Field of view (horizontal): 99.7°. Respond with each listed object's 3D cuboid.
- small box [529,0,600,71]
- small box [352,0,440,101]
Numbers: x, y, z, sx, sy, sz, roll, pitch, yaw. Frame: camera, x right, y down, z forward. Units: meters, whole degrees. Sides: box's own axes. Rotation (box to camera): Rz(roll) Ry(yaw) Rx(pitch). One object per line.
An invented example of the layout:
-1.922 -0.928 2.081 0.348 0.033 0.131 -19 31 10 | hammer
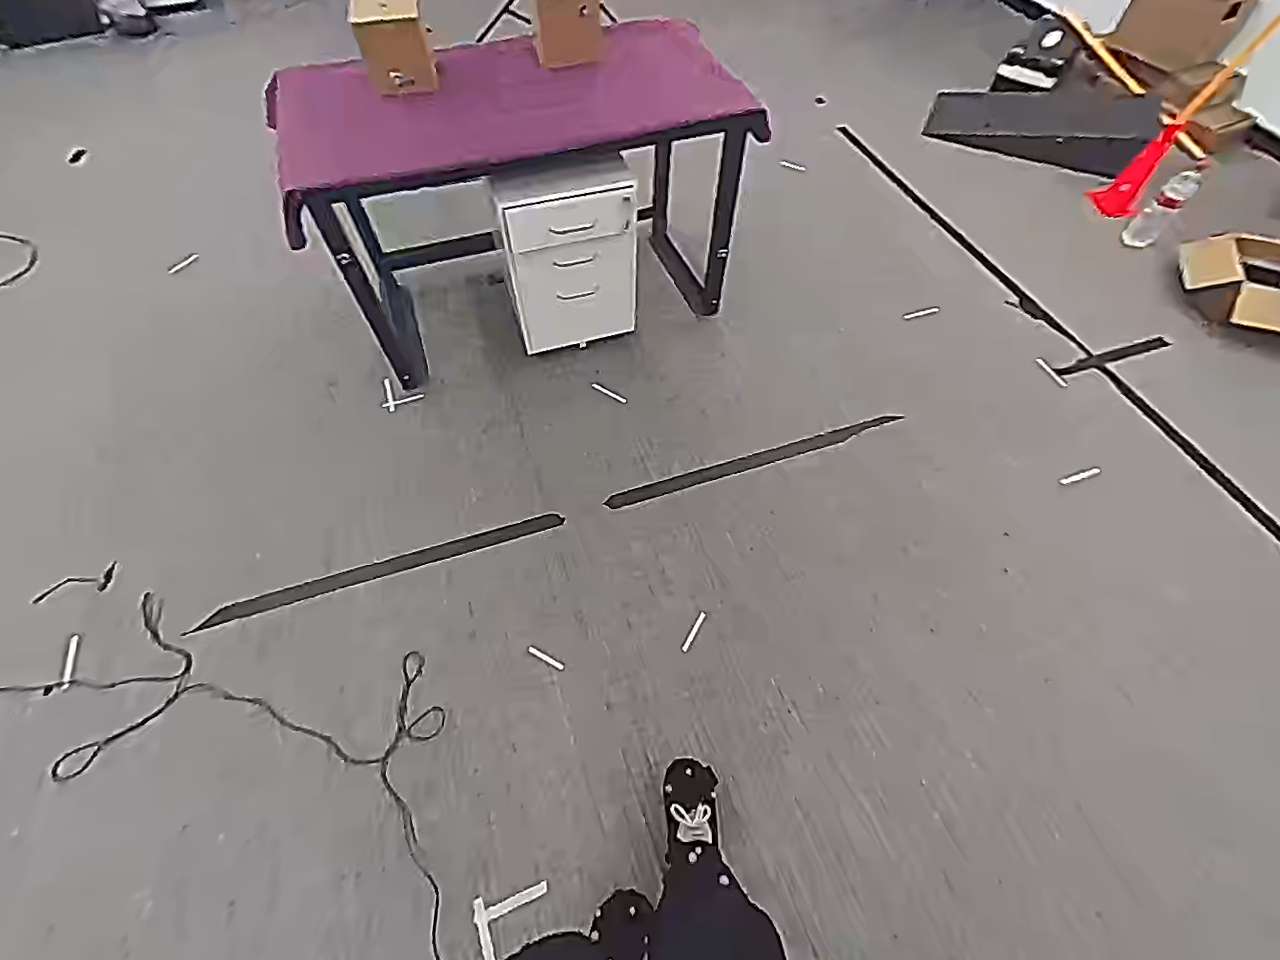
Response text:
-0.212 -1.295 1.530 0.179 0.176 0.168 -14 60 -8 | small box
-0.643 -1.147 1.436 0.168 0.176 0.179 -12 62 -7 | small box
